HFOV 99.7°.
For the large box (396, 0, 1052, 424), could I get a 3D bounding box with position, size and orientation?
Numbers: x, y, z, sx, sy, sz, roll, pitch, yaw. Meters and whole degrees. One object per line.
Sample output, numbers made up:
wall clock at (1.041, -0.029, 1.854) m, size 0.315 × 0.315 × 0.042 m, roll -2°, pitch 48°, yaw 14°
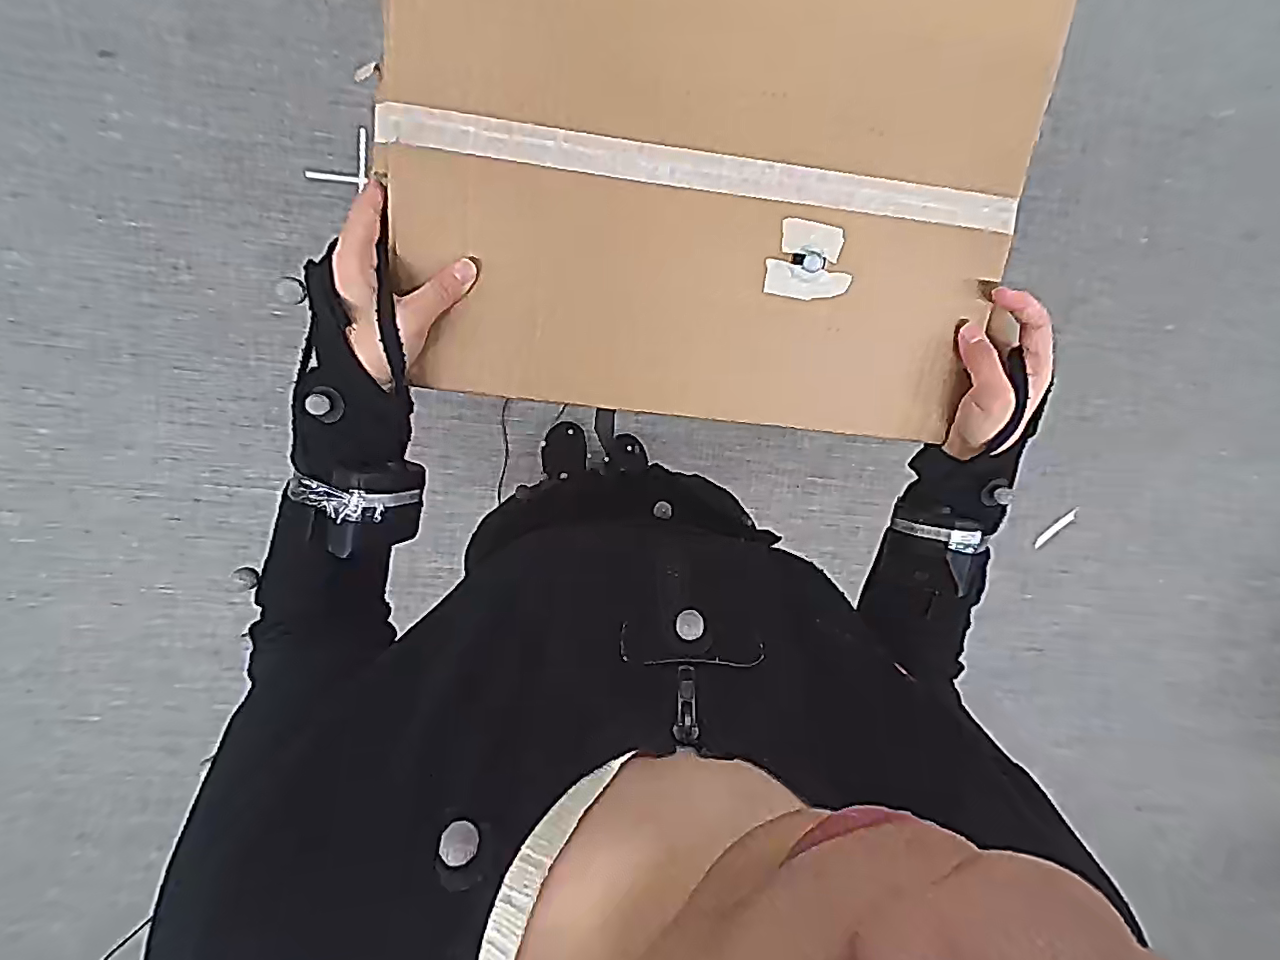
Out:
large box at (0.034, -0.245, 0.491) m, size 0.408 × 0.320 × 0.320 m, roll 5°, pitch 107°, yaw -7°
